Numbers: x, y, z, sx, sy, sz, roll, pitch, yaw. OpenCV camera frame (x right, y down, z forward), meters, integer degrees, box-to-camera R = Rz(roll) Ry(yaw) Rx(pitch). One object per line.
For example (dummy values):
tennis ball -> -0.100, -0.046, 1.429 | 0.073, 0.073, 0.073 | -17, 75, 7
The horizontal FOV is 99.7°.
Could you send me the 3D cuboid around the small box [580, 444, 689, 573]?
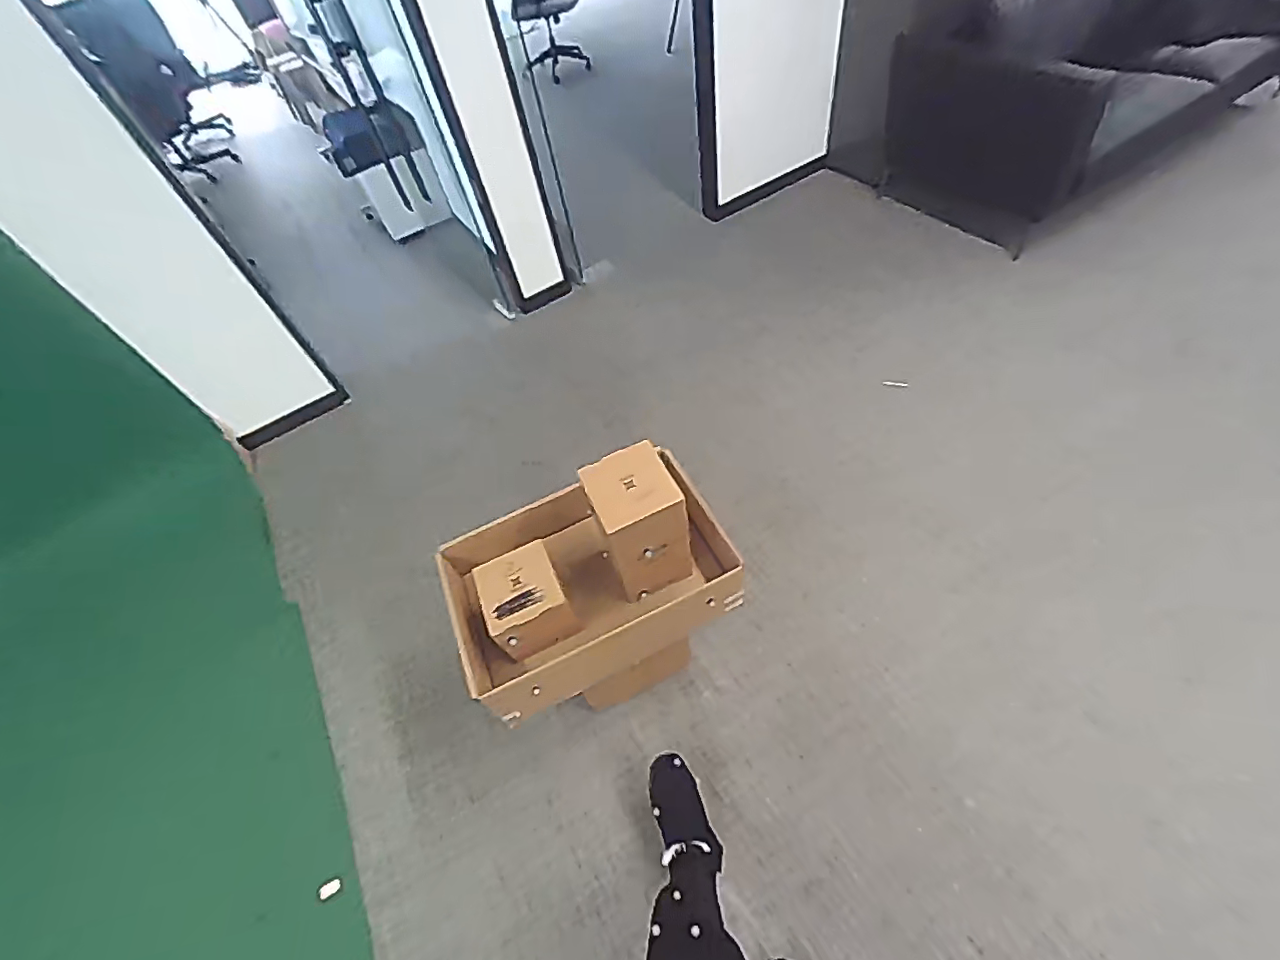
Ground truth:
small box -> -0.009, 0.063, 1.133 | 0.168, 0.176, 0.179 | -24, 54, -8
